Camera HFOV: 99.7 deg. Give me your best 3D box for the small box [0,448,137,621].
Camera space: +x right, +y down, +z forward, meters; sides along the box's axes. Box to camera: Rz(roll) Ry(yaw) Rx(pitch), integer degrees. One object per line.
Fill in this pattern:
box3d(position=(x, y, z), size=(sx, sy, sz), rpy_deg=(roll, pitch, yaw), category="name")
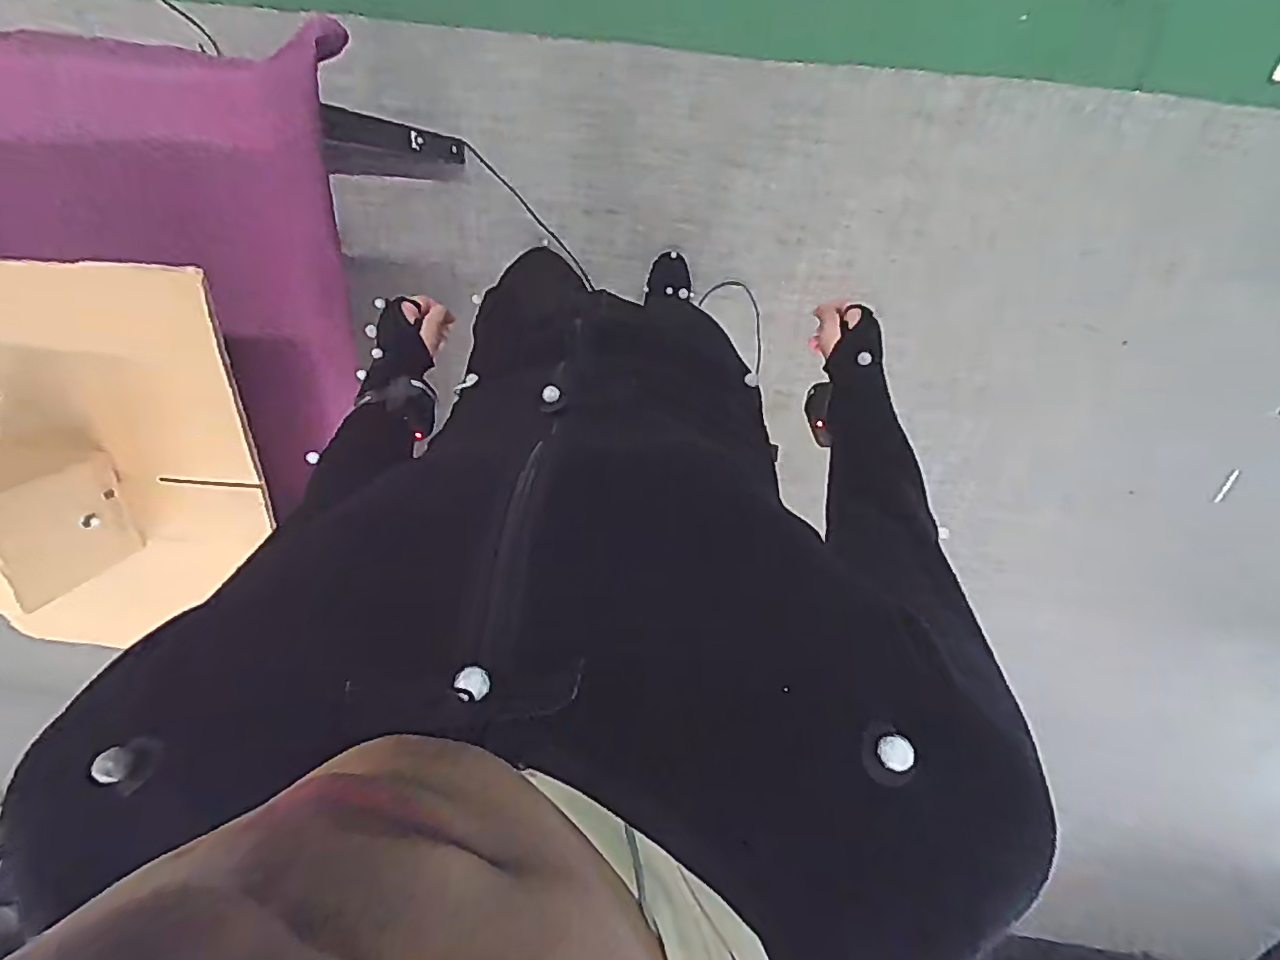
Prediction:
box3d(position=(-0.857, 0.064, 0.732), size=(0.179, 0.176, 0.168), rpy_deg=(5, 115, 3), category="small box")
